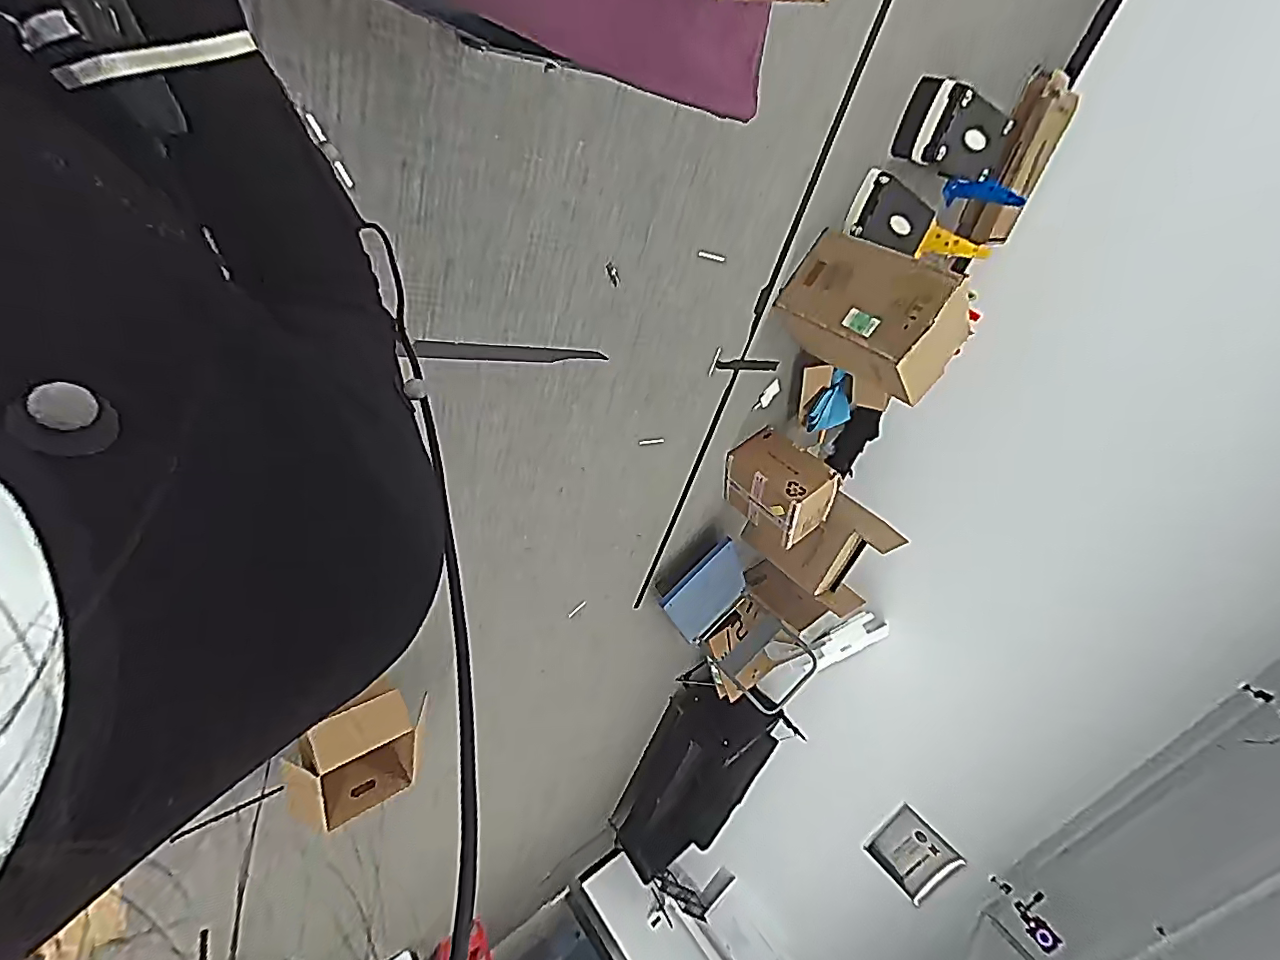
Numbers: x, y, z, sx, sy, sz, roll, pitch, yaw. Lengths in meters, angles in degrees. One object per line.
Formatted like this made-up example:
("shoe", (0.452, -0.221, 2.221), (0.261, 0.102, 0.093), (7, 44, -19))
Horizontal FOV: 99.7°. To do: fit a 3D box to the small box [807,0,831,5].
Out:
("small box", (0.115, -0.609, 0.530), (0.179, 0.176, 0.168), (-8, 128, -46))
